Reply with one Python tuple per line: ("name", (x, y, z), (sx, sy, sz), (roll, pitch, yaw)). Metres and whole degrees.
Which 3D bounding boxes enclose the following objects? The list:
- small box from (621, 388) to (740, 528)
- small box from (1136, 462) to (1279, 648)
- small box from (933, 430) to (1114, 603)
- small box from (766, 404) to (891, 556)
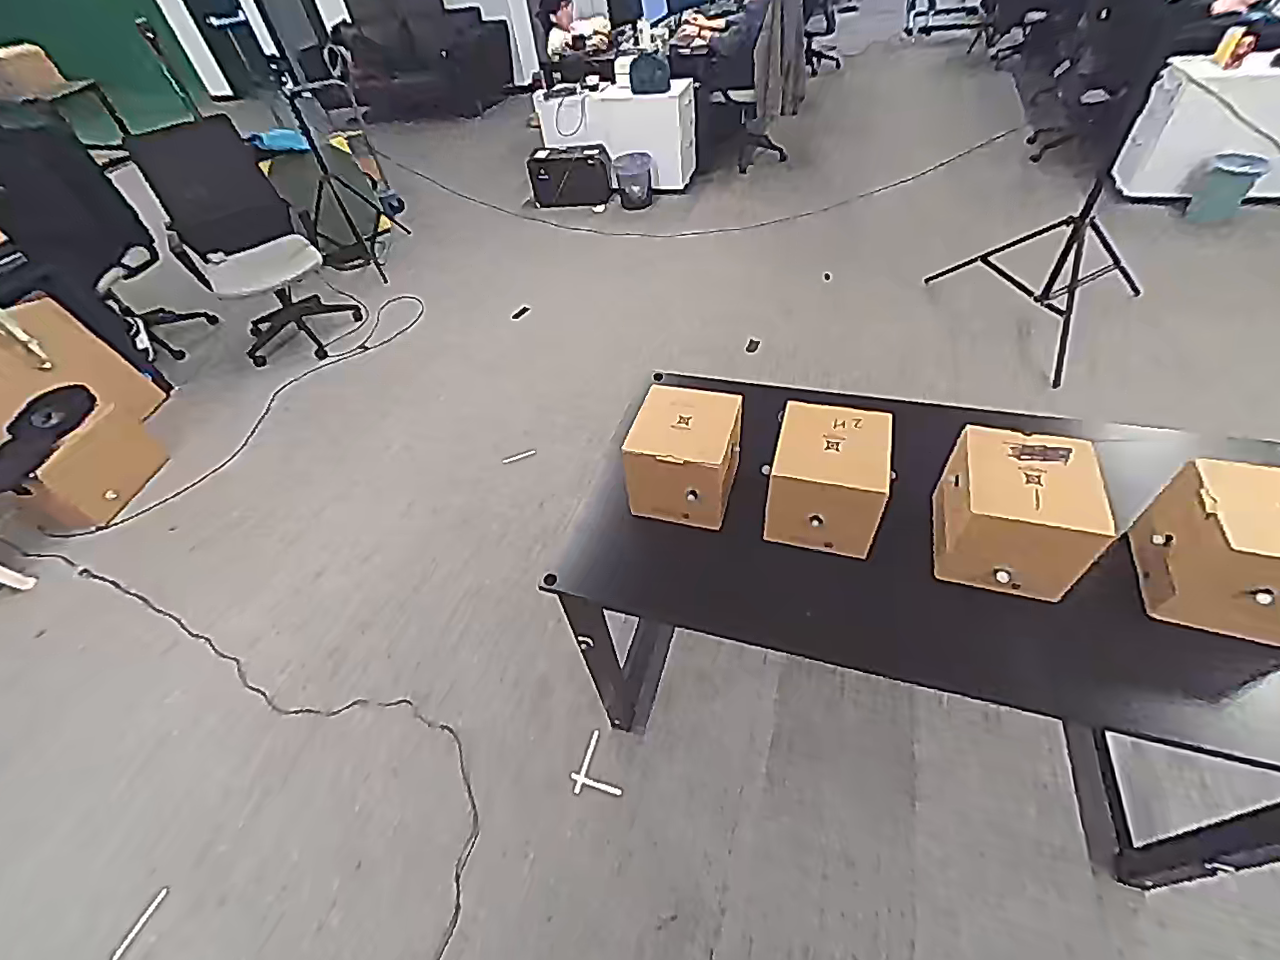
("small box", (0.078, -0.037, 0.960), (0.168, 0.176, 0.179), (10, 48, 15))
("small box", (0.816, 0.102, 0.726), (0.179, 0.176, 0.168), (12, 50, 19))
("small box", (0.551, 0.053, 0.808), (0.168, 0.176, 0.179), (10, 50, 17))
("small box", (0.304, 0.001, 0.889), (0.168, 0.176, 0.179), (10, 50, 16))
